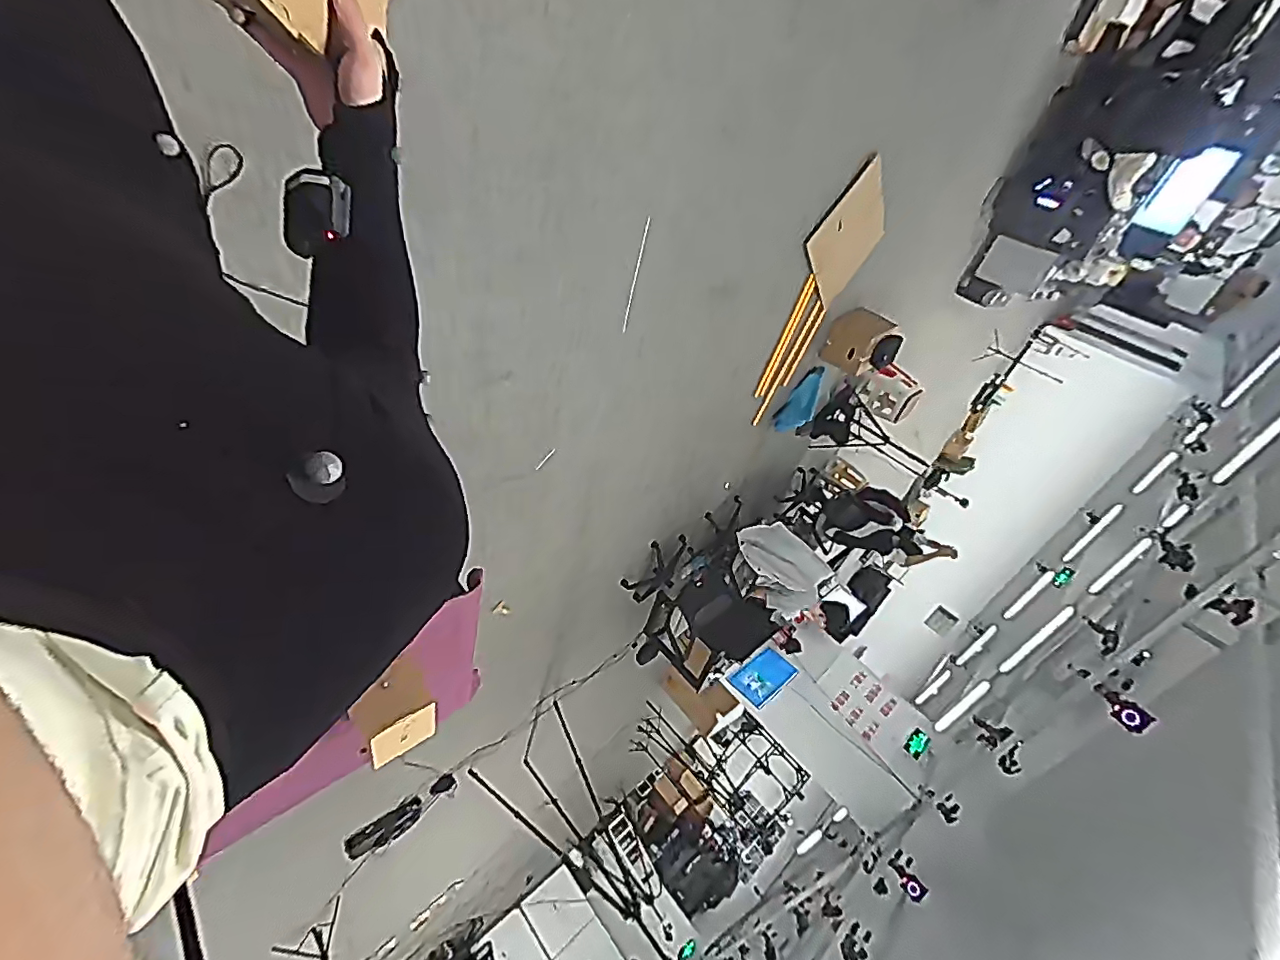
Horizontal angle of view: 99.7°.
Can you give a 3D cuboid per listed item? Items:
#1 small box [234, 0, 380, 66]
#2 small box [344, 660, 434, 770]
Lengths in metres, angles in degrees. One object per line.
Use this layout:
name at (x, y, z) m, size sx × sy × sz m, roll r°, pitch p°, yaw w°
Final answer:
small box at (-0.312, -0.498, 0.424) m, size 0.179 × 0.176 × 0.168 m, roll -58°, pitch 177°, yaw 5°
small box at (-0.663, 0.615, 1.432) m, size 0.168 × 0.176 × 0.179 m, roll -21°, pitch 141°, yaw -40°
